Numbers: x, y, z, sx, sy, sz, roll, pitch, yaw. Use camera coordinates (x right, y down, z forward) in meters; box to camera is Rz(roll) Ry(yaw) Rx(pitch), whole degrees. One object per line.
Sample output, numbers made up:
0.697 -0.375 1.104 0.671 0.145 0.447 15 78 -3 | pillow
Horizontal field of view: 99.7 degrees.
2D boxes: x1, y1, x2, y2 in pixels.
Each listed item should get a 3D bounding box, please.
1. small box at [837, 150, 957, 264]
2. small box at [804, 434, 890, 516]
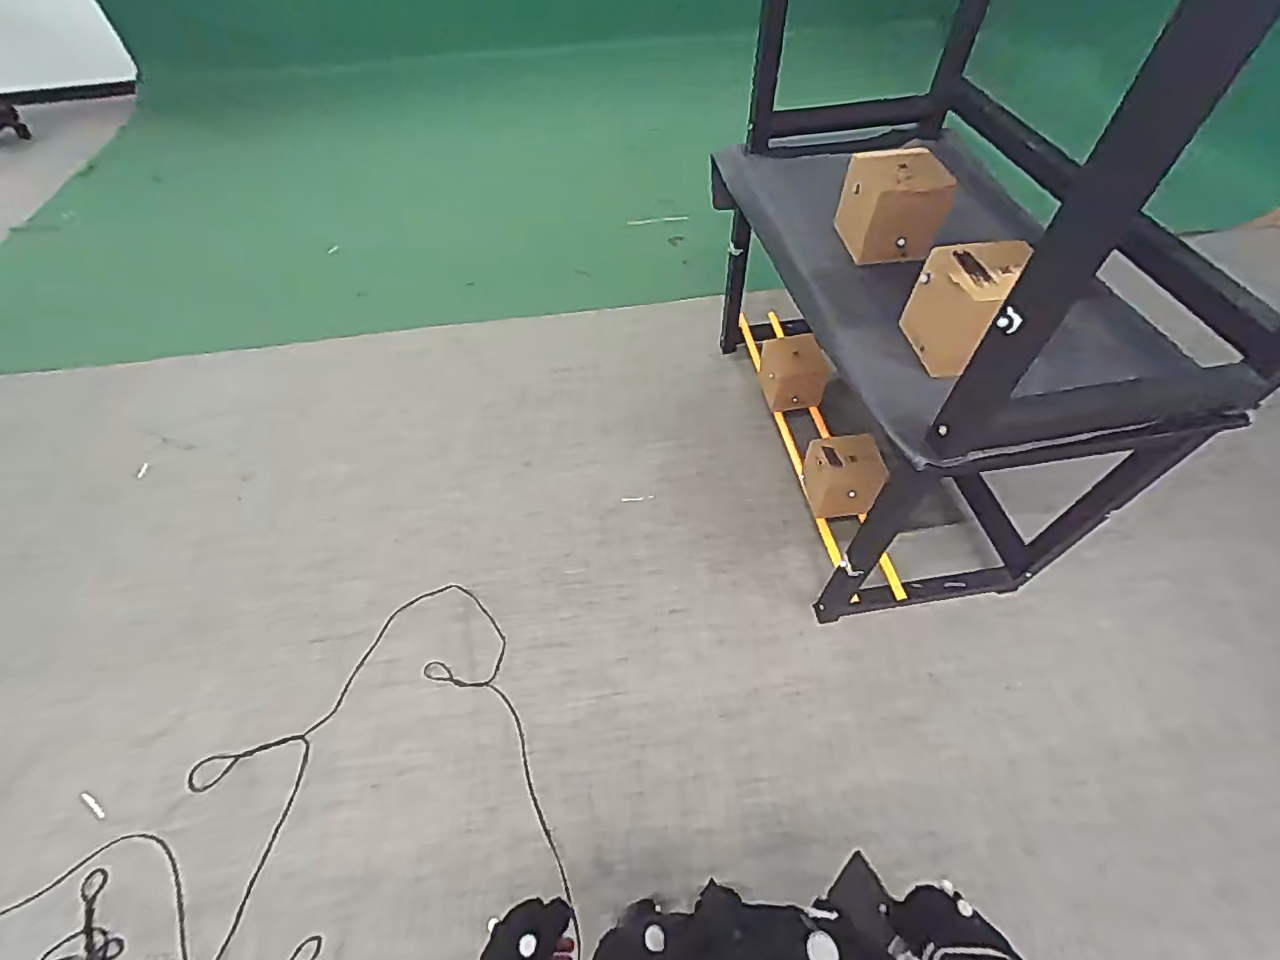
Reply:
0.561 -0.611 1.214 0.168 0.176 0.179 -6 54 -1 | small box
0.581 -0.011 1.548 0.179 0.176 0.168 -6 54 -1 | small box
